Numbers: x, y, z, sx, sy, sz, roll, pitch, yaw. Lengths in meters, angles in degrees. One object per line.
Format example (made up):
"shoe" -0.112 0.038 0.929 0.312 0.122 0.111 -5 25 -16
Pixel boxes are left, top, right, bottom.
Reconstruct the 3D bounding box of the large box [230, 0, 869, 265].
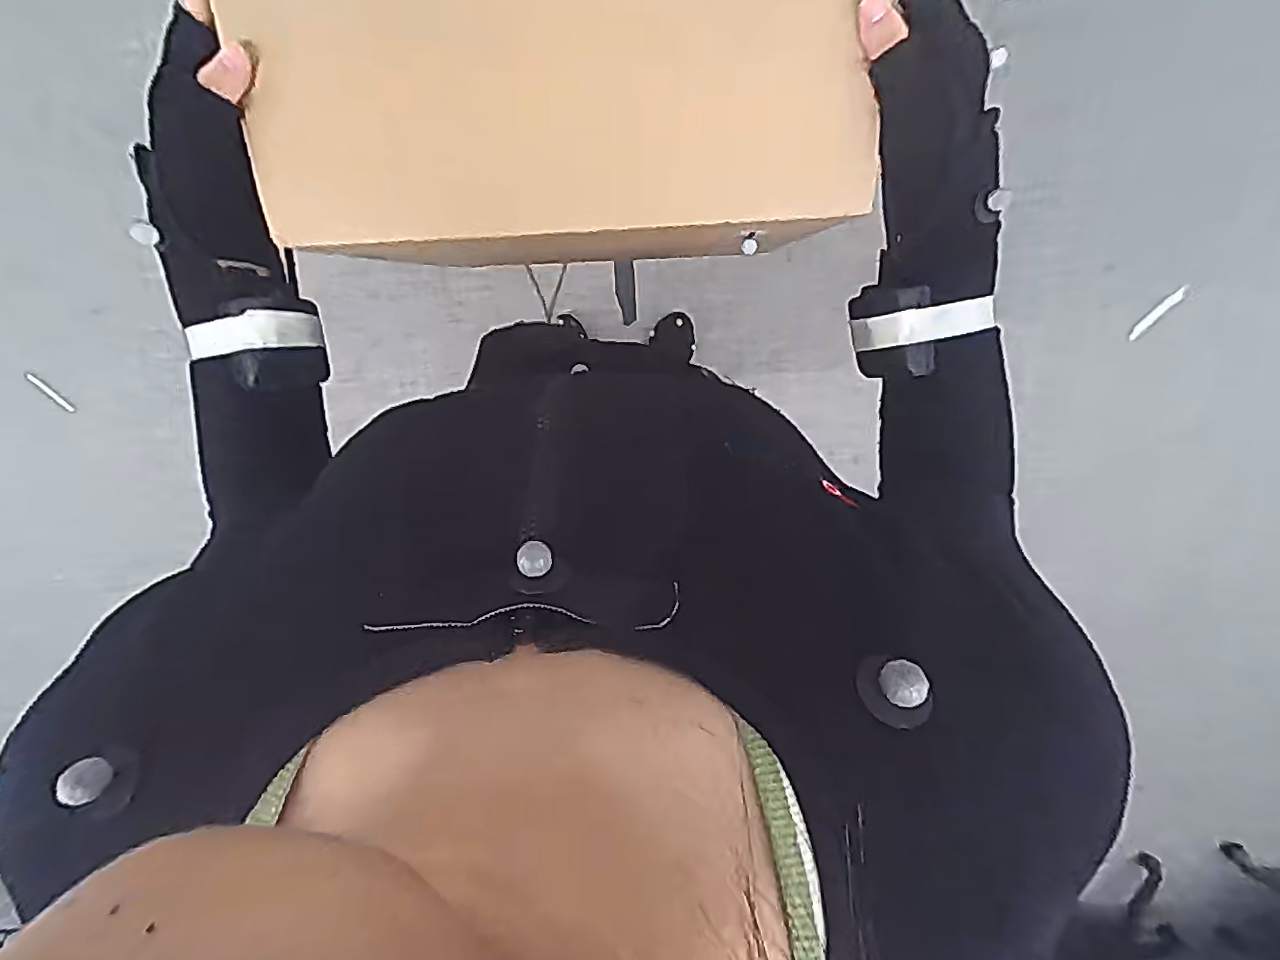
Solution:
"large box" -0.054 -0.368 0.467 0.408 0.320 0.320 -3 108 2
